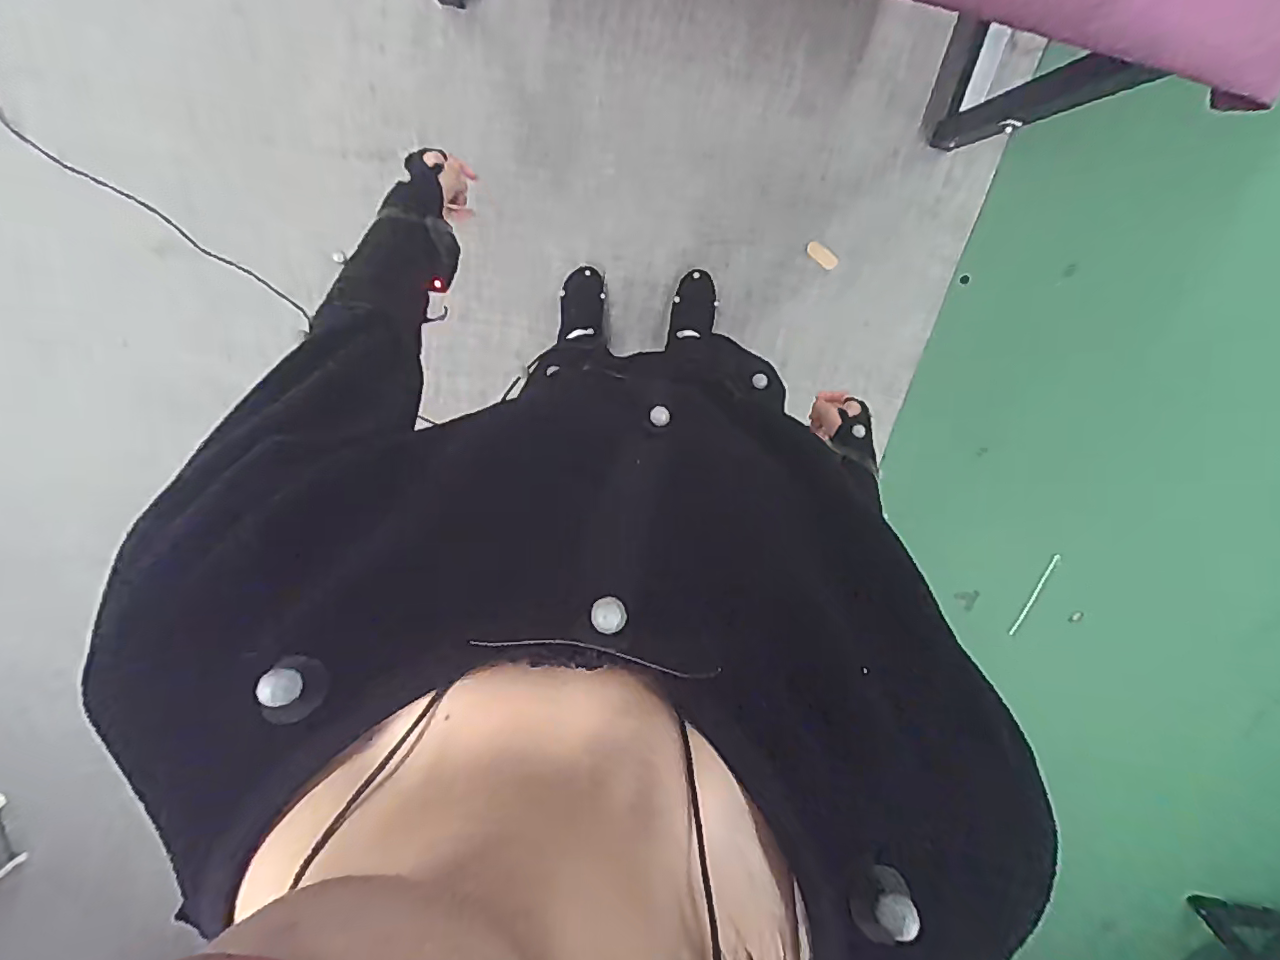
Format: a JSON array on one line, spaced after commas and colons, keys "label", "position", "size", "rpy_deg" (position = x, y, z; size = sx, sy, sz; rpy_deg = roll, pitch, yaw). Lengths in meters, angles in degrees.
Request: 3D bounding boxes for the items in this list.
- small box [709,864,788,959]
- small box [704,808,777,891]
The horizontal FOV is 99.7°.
[{"label": "small box", "position": [0.280, 1.159, 1.437], "size": [0.168, 0.176, 0.179], "rpy_deg": [2, 111, -1]}, {"label": "small box", "position": [0.290, 1.096, 1.588], "size": [0.179, 0.176, 0.168], "rpy_deg": [1, 110, 0]}]
